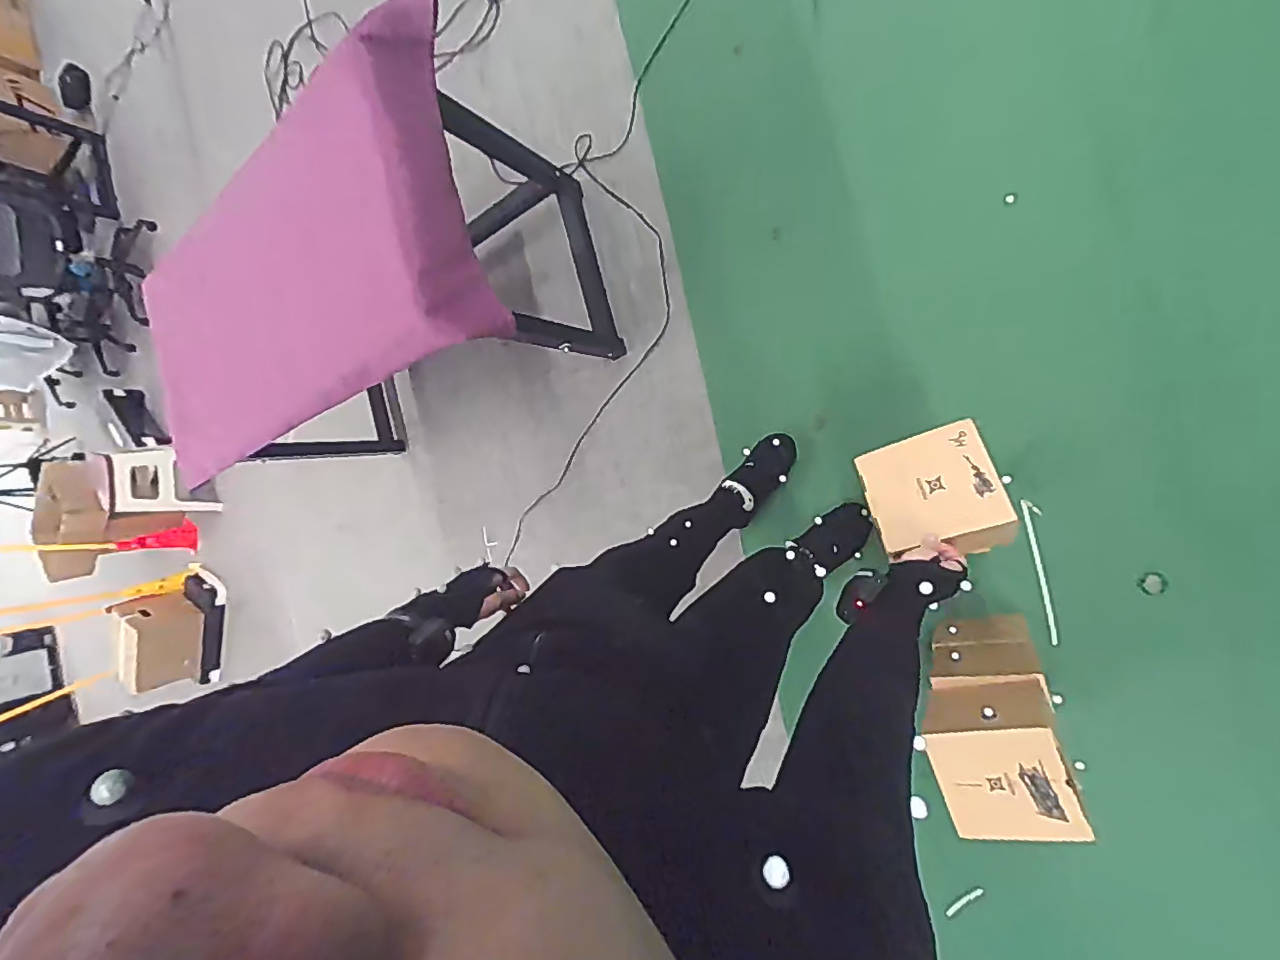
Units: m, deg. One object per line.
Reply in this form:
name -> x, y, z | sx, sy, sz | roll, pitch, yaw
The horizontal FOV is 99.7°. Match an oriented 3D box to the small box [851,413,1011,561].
small box -> 0.466, 0.023, 0.865 | 0.179, 0.176, 0.168 | -22, 64, 27

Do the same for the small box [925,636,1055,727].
small box -> 0.654, 0.402, 1.010 | 0.179, 0.176, 0.168 | -15, 88, 32

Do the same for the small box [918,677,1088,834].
small box -> 0.573, 0.433, 0.871 | 0.179, 0.176, 0.168 | -22, 84, 33
